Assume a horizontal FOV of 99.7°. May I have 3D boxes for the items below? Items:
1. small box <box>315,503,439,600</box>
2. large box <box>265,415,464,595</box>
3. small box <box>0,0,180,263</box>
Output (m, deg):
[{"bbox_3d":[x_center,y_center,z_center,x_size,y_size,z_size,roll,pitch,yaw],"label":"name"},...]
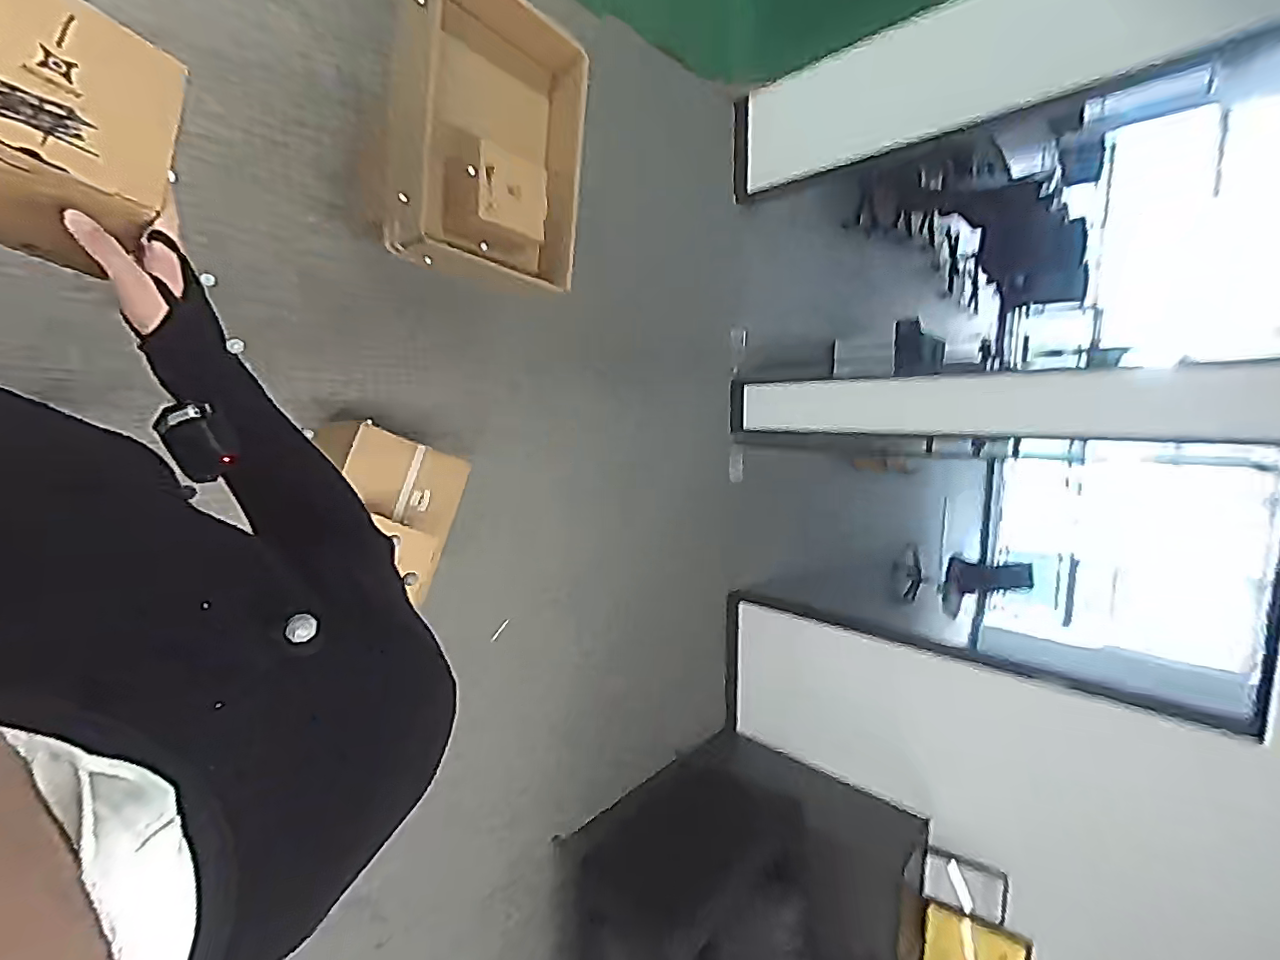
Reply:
[{"bbox_3d":[-0.612,0.161,1.259,0.179,0.176,0.168,34,70,-43],"label":"small box"},{"bbox_3d":[-0.743,0.067,1.467,0.320,0.320,0.408,27,75,-47],"label":"large box"},{"bbox_3d":[-0.560,-0.332,0.490,0.168,0.176,0.179,16,67,-55],"label":"small box"}]
